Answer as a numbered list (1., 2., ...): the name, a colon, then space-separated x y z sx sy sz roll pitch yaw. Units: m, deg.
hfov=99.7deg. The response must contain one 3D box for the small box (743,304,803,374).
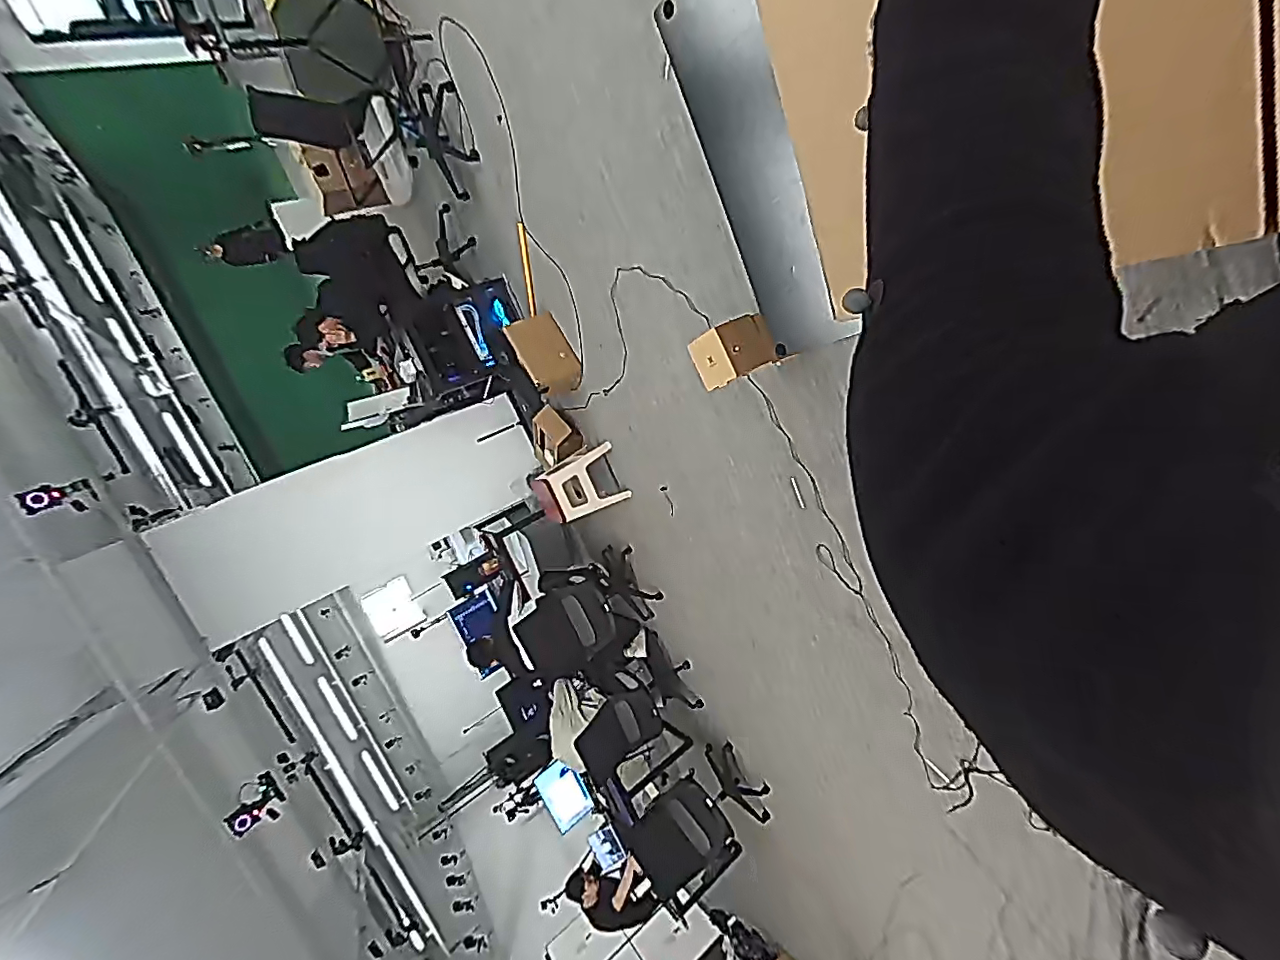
1. small box: 0.426 -0.492 1.868 0.168 0.176 0.179 -12 105 62

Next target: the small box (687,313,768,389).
1. small box: 0.295 -0.429 1.795 0.168 0.176 0.179 -19 97 62
